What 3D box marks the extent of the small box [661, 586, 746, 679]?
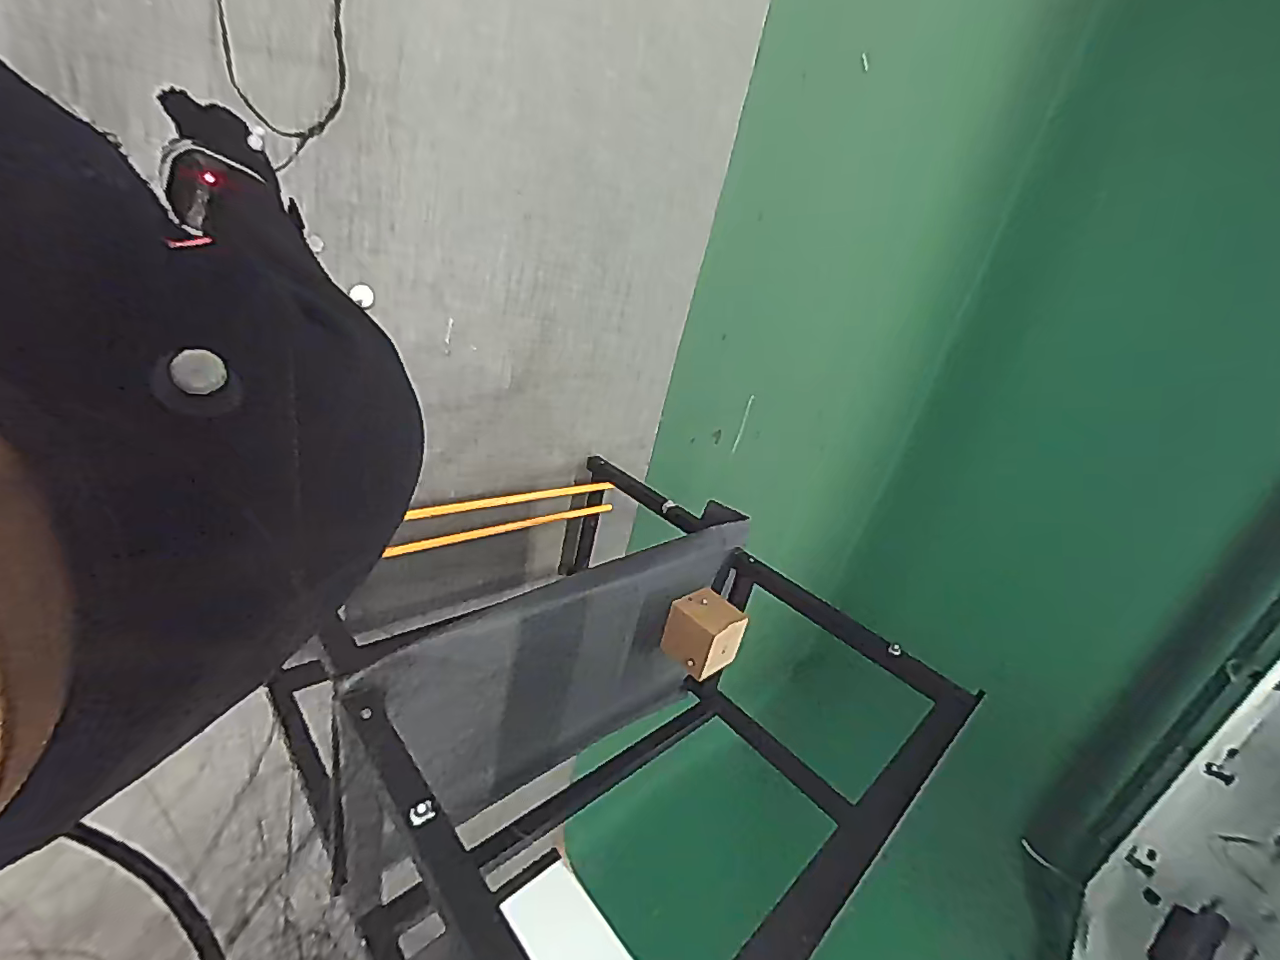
[{"bbox_3d":[0.184,0.449,1.613,0.168,0.176,0.179,-12,124,-44],"label":"small box"}]
